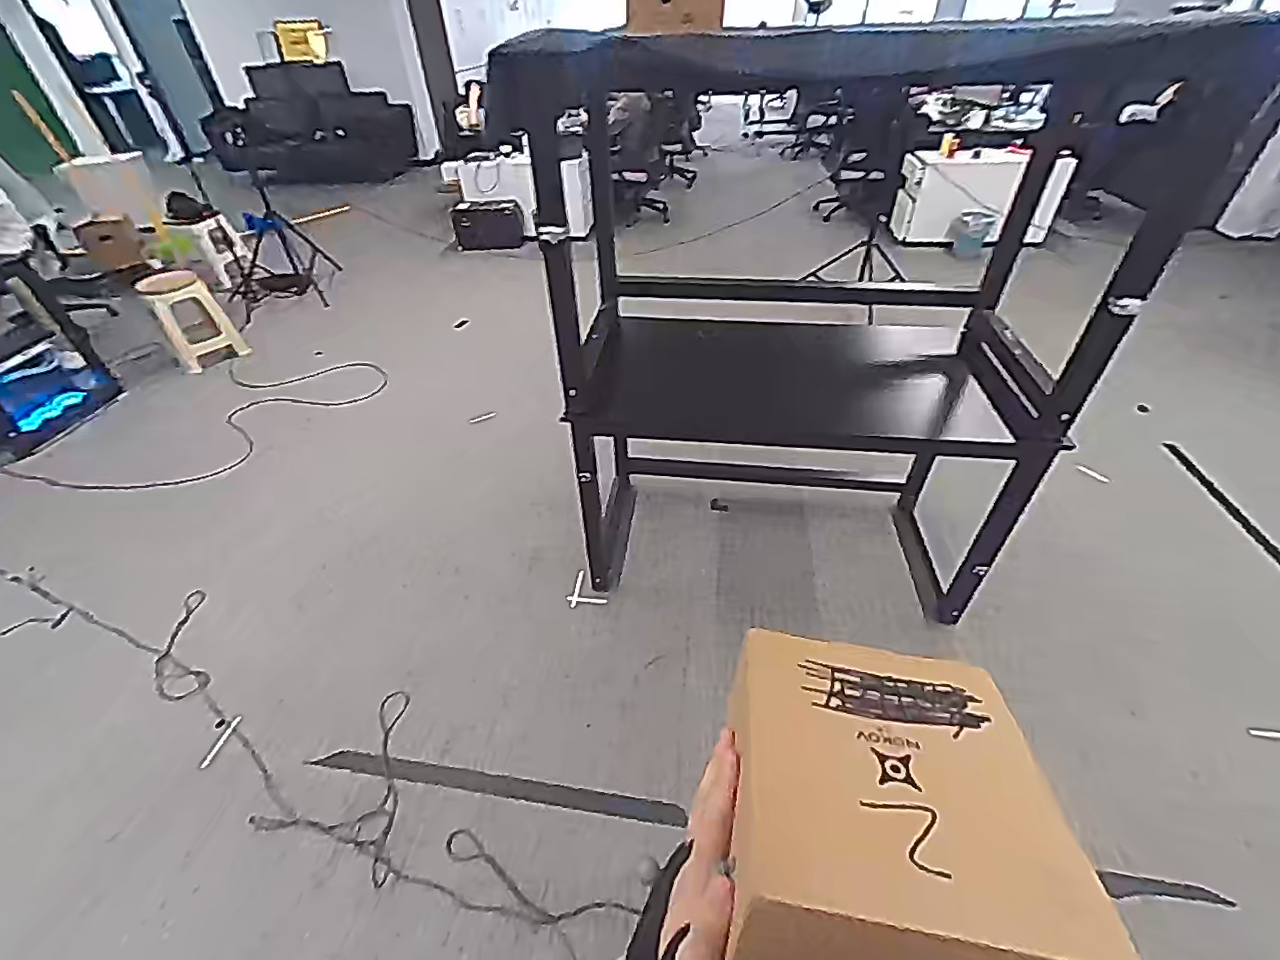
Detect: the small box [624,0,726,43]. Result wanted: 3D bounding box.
[{"bbox_3d":[0.064,-0.845,0.904,0.168,0.176,0.179,4,40,5],"label":"small box"}]
